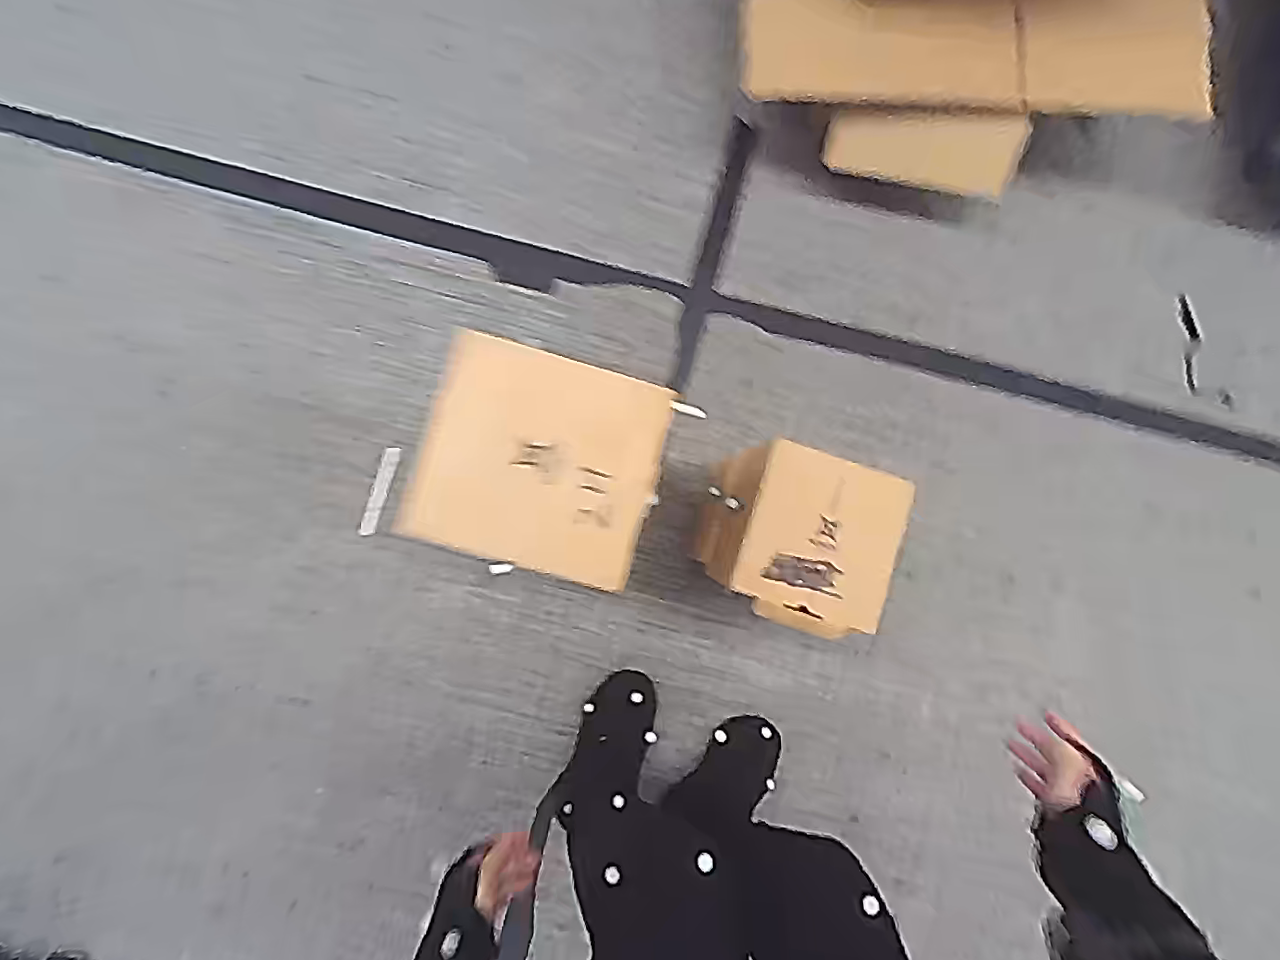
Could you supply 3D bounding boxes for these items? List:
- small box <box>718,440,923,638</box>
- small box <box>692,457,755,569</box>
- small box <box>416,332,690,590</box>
[{"bbox_3d":[0.204,0.070,0.666,0.168,0.176,0.179,19,84,-1],"label":"small box"},{"bbox_3d":[0.196,0.076,0.831,0.179,0.176,0.168,21,85,-2],"label":"small box"},{"bbox_3d":[-0.070,-0.010,0.497,0.179,0.176,0.168,17,86,-3],"label":"small box"}]
